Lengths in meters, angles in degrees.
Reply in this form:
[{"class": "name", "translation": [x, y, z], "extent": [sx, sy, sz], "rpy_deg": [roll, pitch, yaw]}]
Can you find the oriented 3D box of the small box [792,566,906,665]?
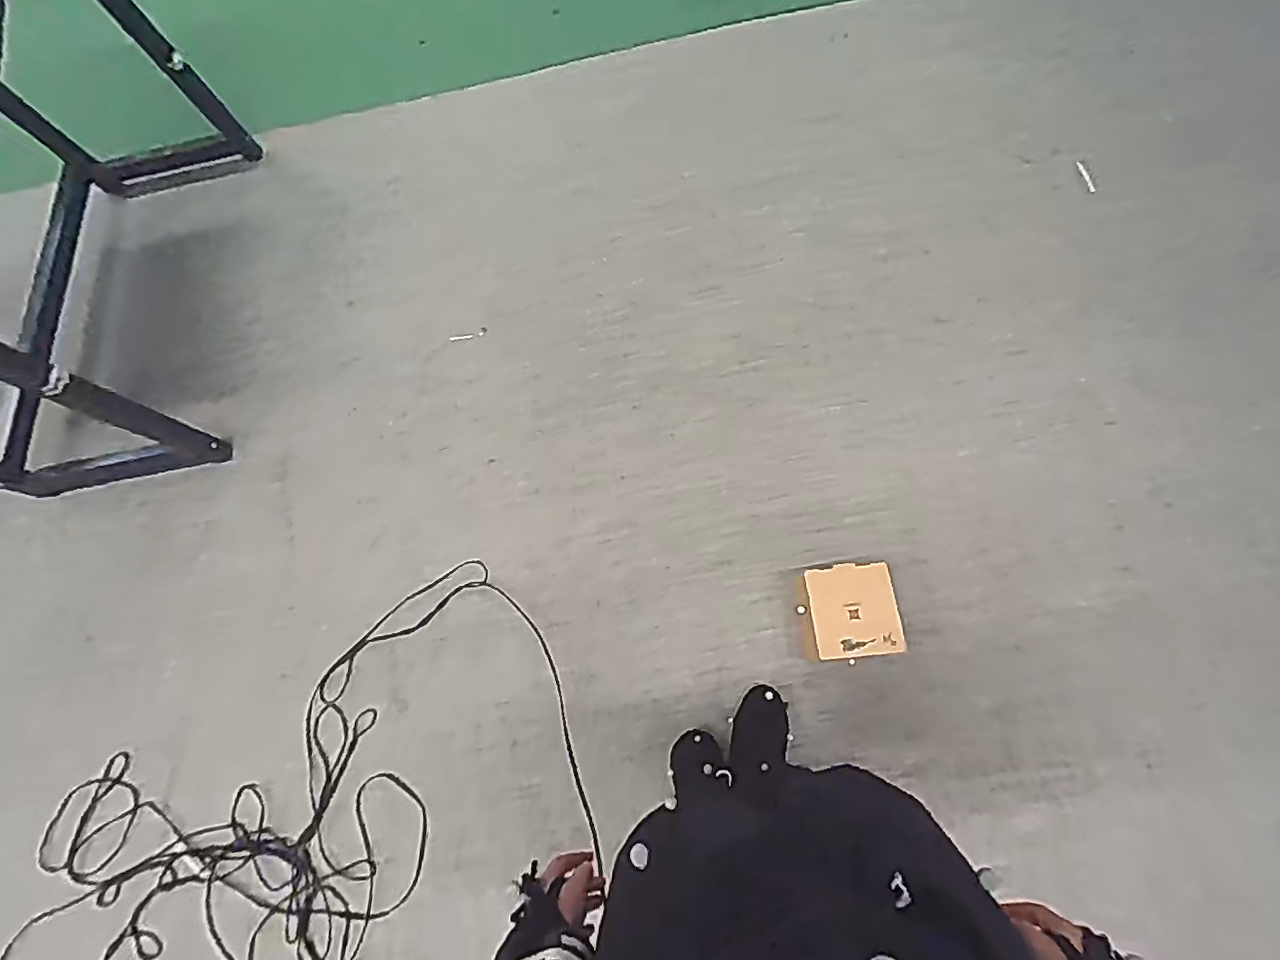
[{"class": "small box", "translation": [0.424, 0.287, 1.129], "extent": [0.168, 0.176, 0.179], "rpy_deg": [-7, 70, 4]}]
